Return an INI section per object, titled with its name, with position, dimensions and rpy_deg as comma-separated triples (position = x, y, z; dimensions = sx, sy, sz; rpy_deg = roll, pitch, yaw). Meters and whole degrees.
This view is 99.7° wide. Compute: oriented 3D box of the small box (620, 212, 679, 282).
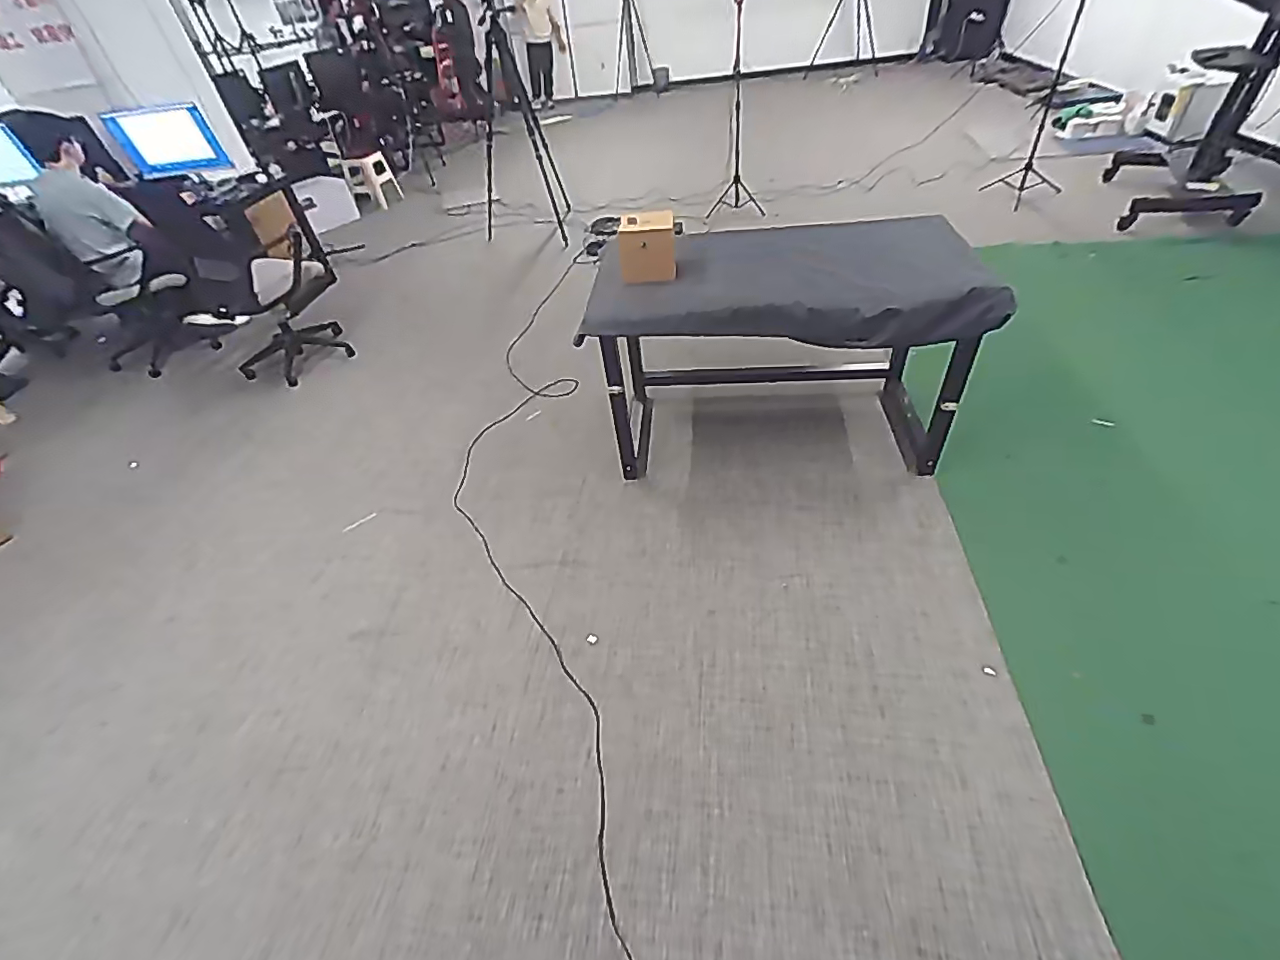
[small box]
position = 0.037, -0.772, 1.795
dimensions = 0.179, 0.176, 0.168
rpy_deg = -1, 44, 6
